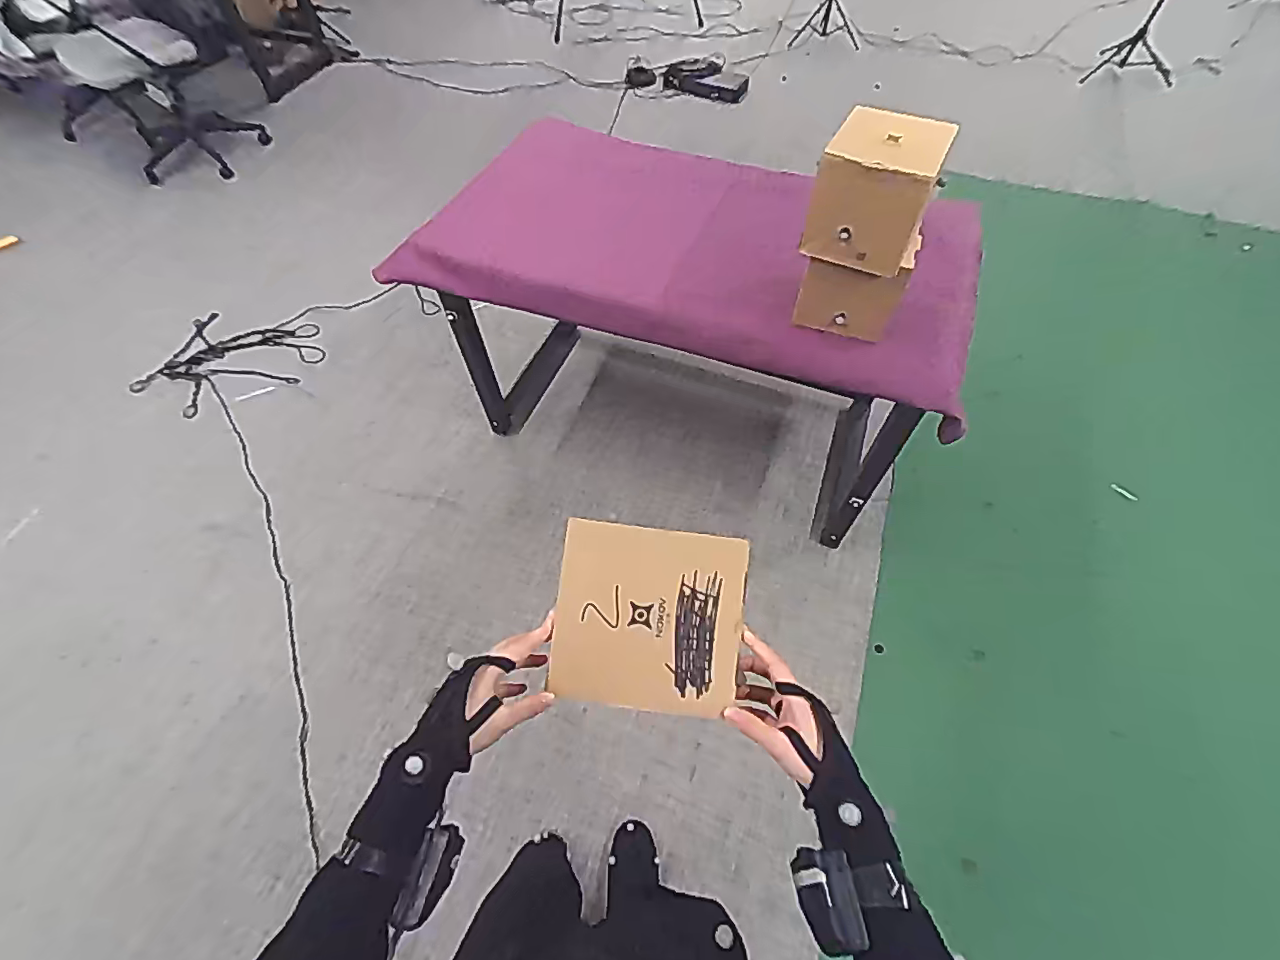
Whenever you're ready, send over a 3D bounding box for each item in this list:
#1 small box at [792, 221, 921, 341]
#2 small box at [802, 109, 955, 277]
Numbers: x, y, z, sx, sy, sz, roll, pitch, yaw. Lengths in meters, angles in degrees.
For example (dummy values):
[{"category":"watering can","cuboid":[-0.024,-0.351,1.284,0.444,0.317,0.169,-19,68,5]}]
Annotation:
[{"category":"small box","cuboid":[0.410,-0.392,1.038,0.179,0.176,0.168,17,57,13]},{"category":"small box","cuboid":[0.385,-0.472,0.896,0.168,0.176,0.179,24,61,17]}]
